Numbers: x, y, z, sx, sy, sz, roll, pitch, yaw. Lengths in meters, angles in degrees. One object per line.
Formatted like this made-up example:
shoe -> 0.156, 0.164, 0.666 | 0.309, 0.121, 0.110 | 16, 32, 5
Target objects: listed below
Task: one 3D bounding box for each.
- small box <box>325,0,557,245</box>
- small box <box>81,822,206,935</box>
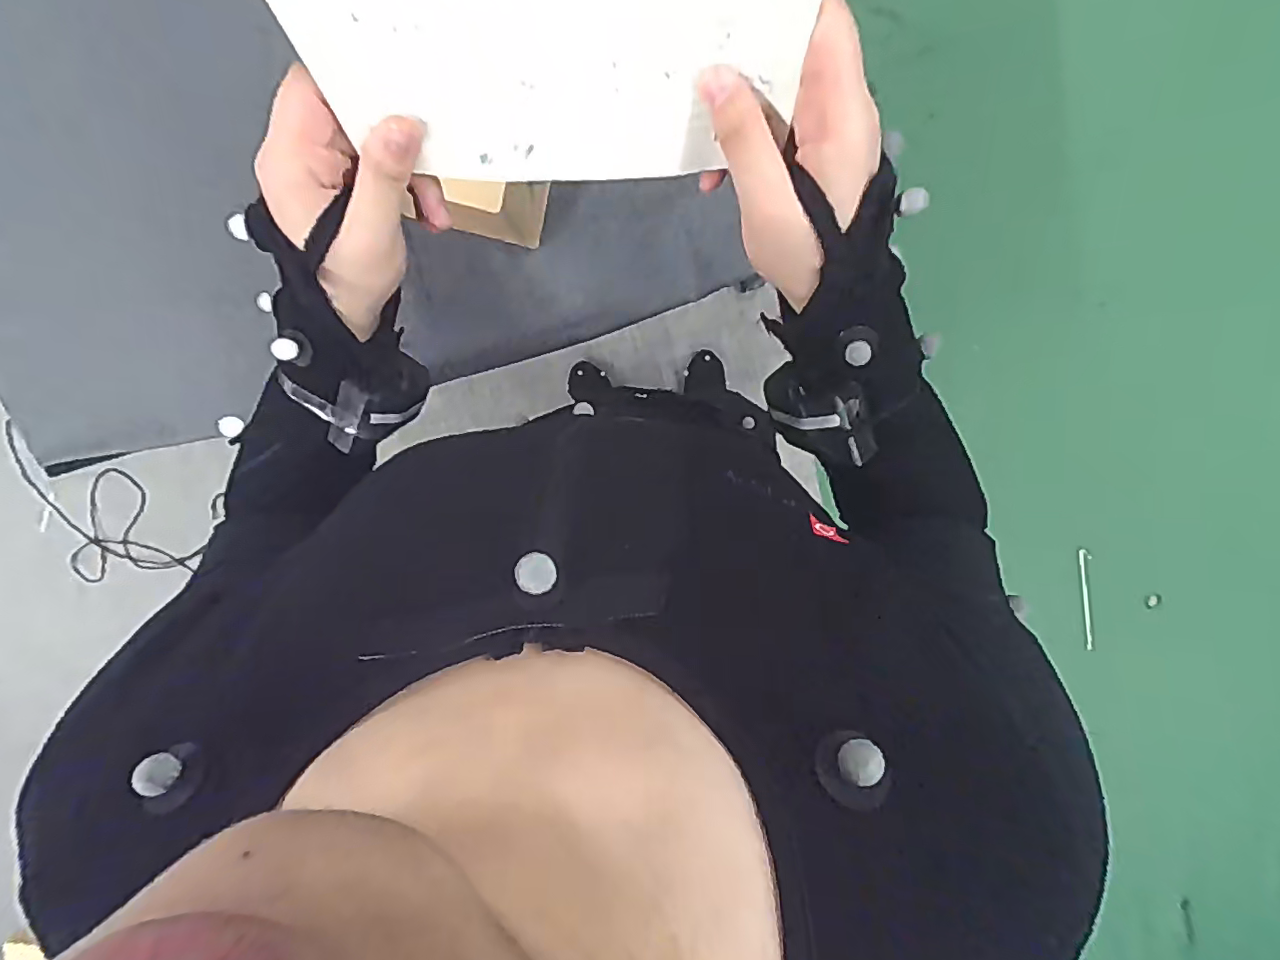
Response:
small box -> -0.200, -0.368, 0.586 | 0.179, 0.176, 0.168 | 14, 103, 0
small box -> -1.262, 1.019, 1.393 | 0.179, 0.176, 0.168 | 6, 103, -1
